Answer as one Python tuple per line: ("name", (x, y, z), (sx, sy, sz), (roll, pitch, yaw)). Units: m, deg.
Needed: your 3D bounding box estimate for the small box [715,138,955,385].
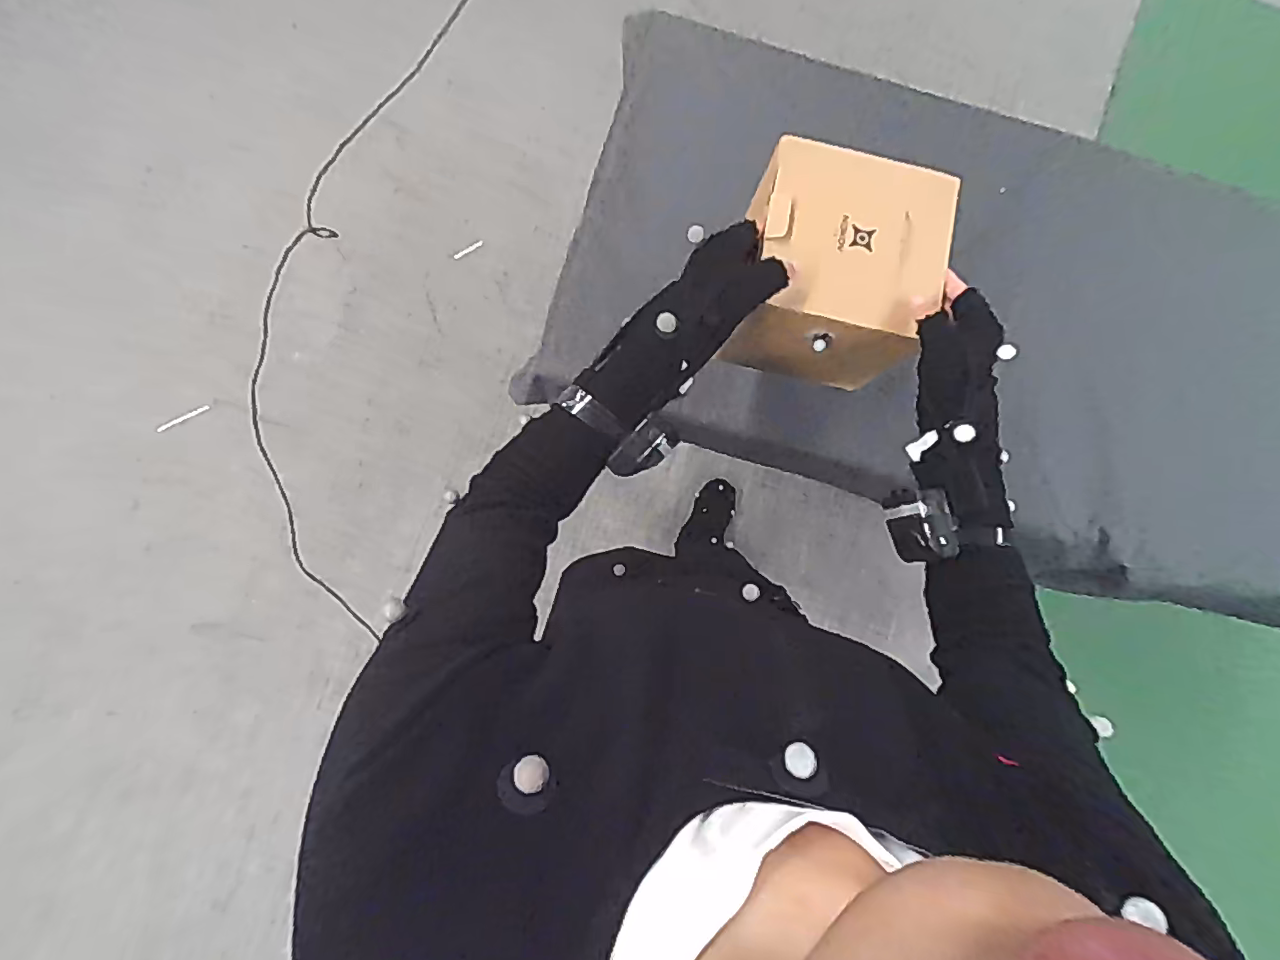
("small box", (0.190, -0.212, 0.573), (0.179, 0.176, 0.168), (11, 84, -5))
